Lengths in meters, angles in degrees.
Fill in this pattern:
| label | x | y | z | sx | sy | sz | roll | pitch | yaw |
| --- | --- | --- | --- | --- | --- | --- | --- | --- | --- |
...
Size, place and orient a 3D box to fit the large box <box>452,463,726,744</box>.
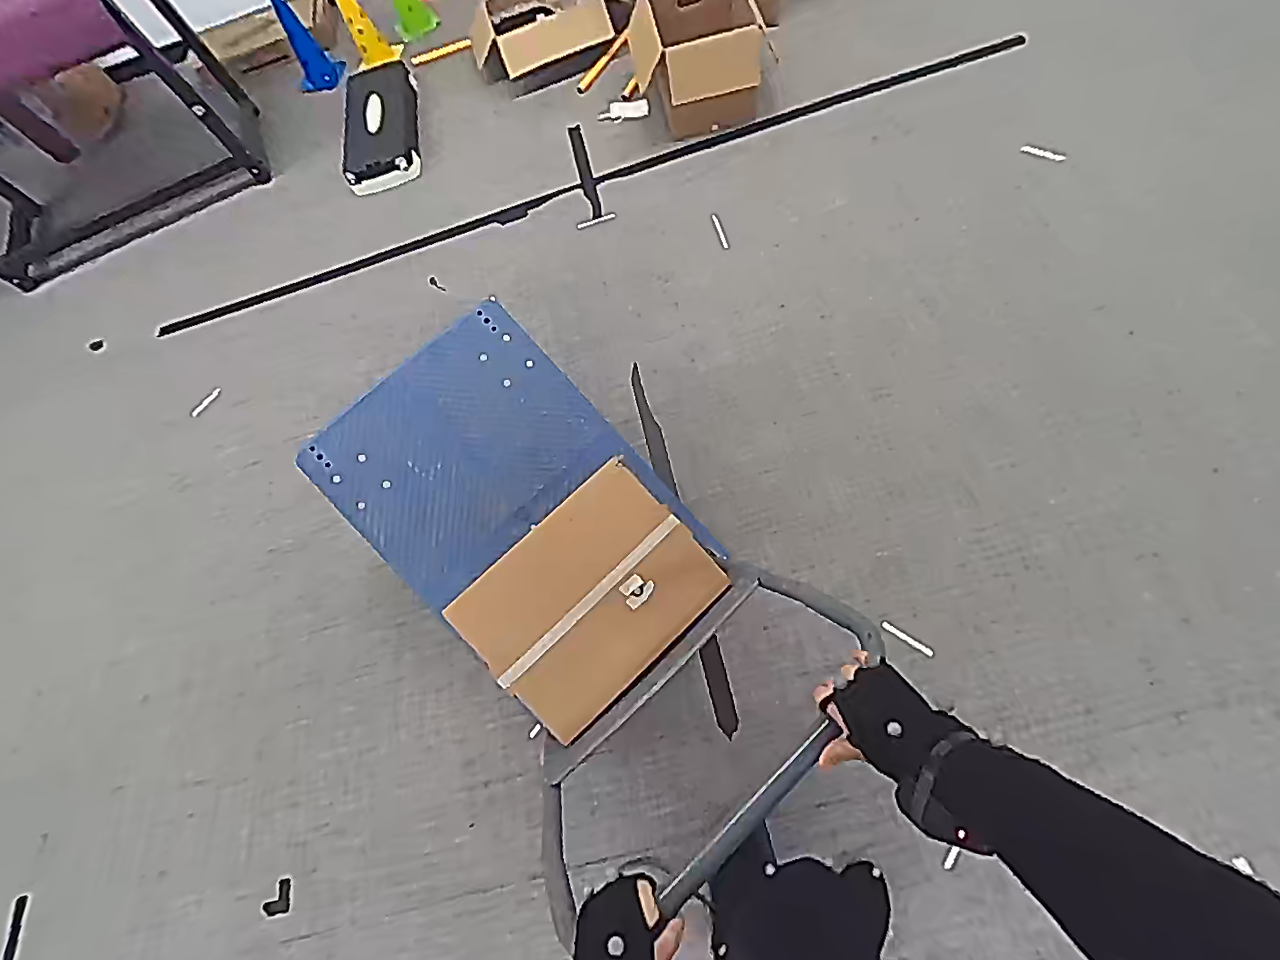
| label | x | y | z | sx | sy | sz | roll | pitch | yaw |
| --- | --- | --- | --- | --- | --- | --- | --- | --- | --- |
| large box | -0.102 | 0.230 | 1.104 | 0.408 | 0.320 | 0.320 | -44 | 91 | -10 |
